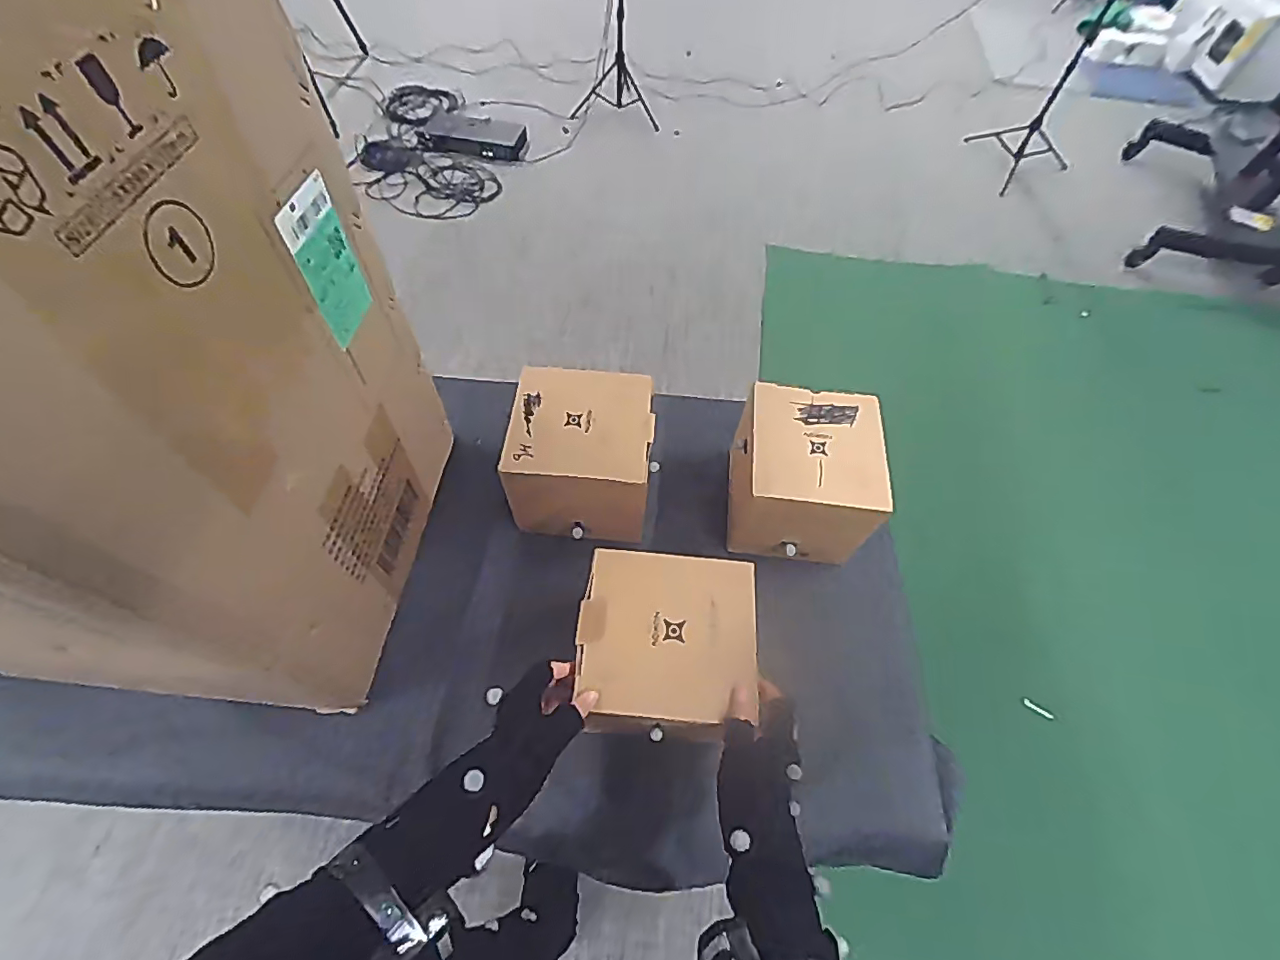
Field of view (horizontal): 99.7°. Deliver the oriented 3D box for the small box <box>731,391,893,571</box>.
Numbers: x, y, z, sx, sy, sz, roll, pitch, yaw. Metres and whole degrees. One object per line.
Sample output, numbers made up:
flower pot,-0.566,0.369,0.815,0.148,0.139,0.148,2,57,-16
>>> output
small box,0.222,0.006,0.745,0.168,0.176,0.179,7,59,2
